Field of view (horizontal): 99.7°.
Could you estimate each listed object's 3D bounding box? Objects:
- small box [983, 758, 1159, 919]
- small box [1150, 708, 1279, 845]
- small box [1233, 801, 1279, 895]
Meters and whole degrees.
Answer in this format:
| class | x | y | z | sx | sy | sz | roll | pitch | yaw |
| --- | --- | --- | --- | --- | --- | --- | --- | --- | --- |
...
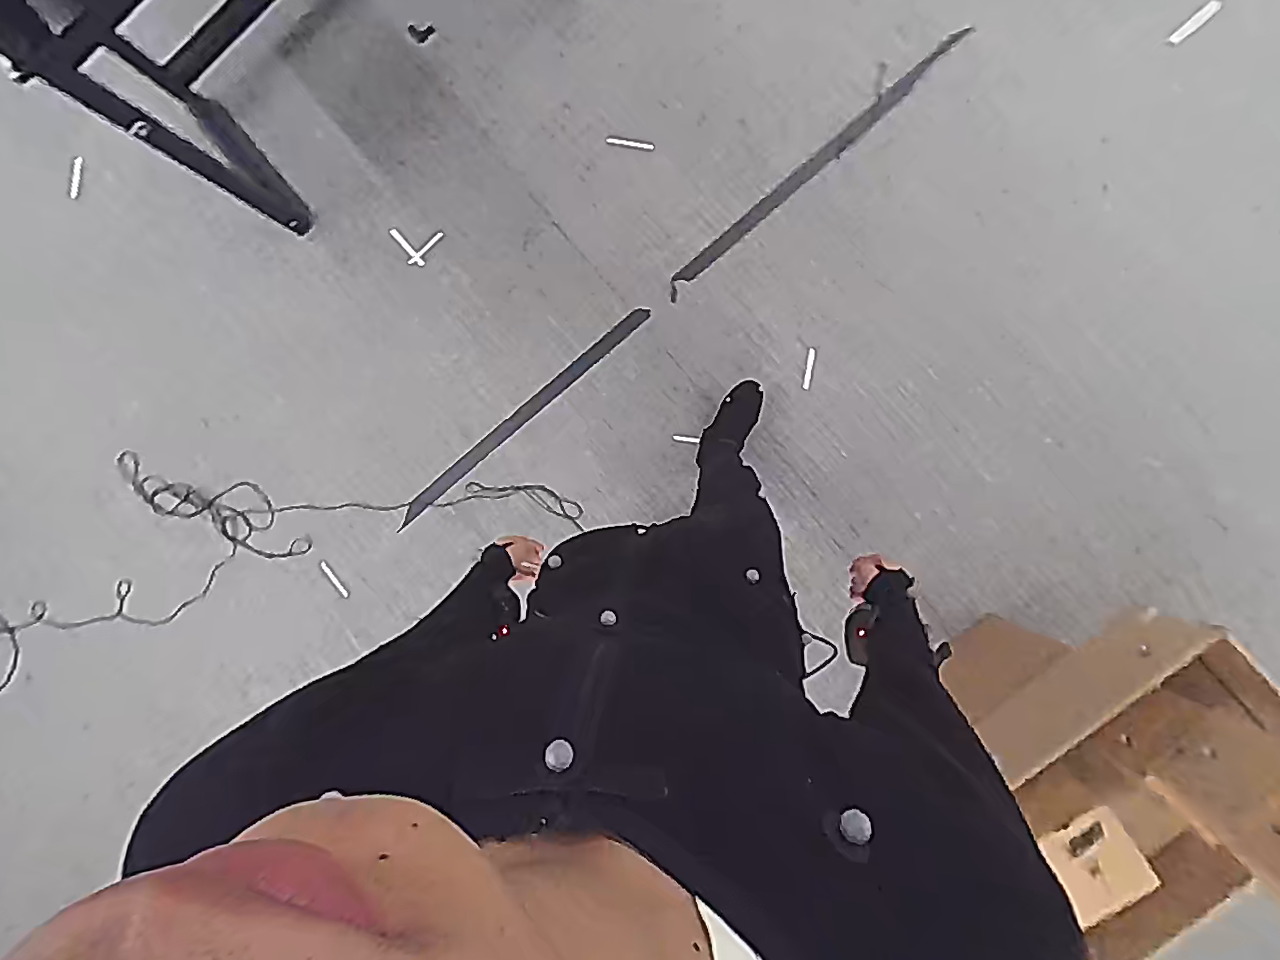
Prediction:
| class | x | y | z | sx | sy | sz | roll | pitch | yaw |
| --- | --- | --- | --- | --- | --- | --- | --- | --- | --- |
| small box | 0.825 | 0.682 | 1.058 | 0.168 | 0.176 | 0.179 | -34 | 88 | 4 |
| small box | 1.013 | 0.512 | 0.875 | 0.168 | 0.176 | 0.179 | -45 | 87 | 6 |
| small box | 0.986 | 0.548 | 0.716 | 0.168 | 0.176 | 0.179 | -42 | 88 | 7 |
